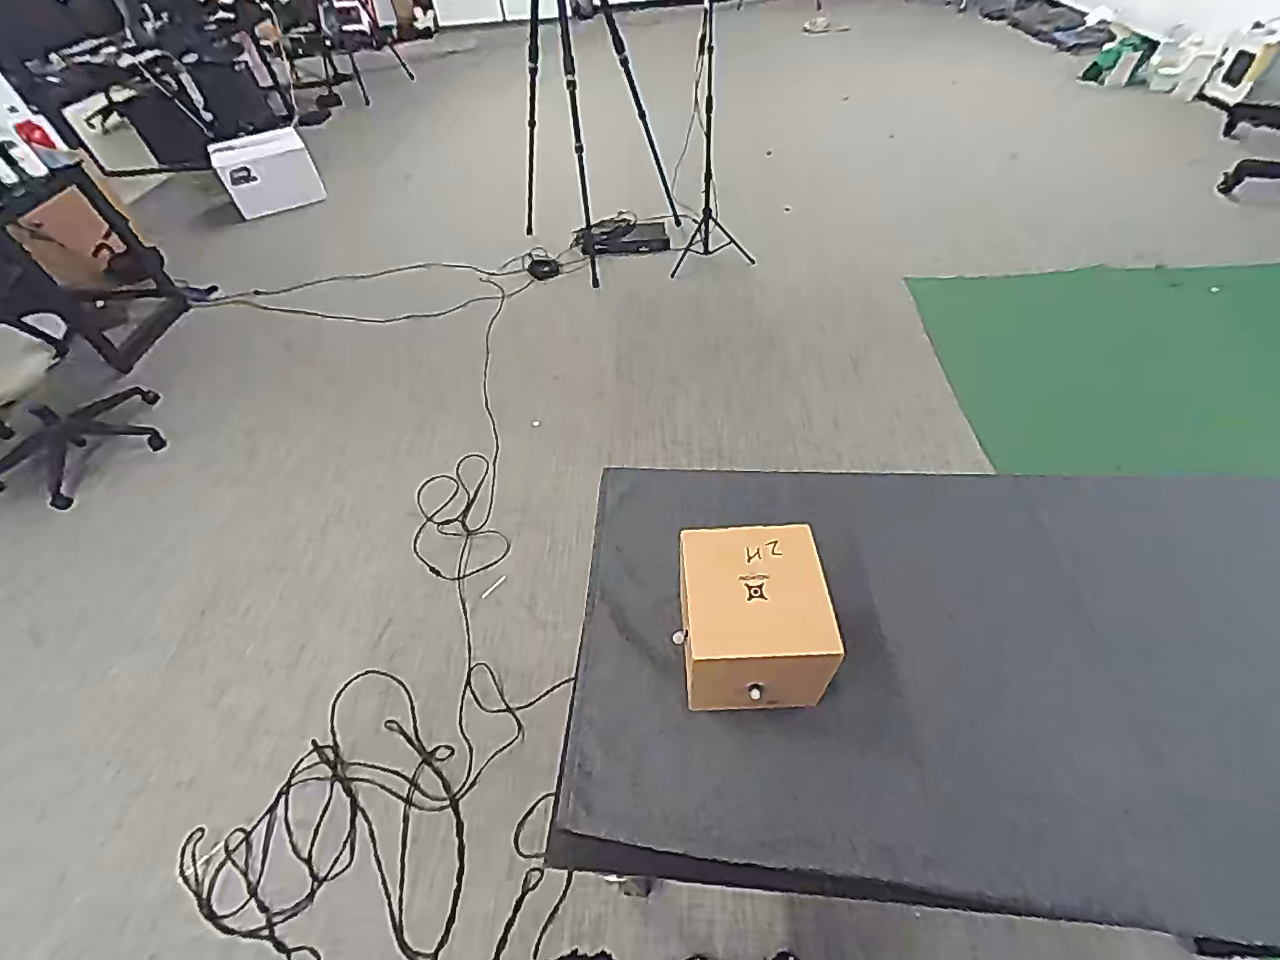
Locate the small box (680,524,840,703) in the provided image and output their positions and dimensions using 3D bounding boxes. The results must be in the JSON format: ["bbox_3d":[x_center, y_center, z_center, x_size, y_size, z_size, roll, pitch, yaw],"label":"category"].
[{"bbox_3d":[0.140,0.177,0.696,0.168,0.176,0.179,-3,49,2],"label":"small box"}]
